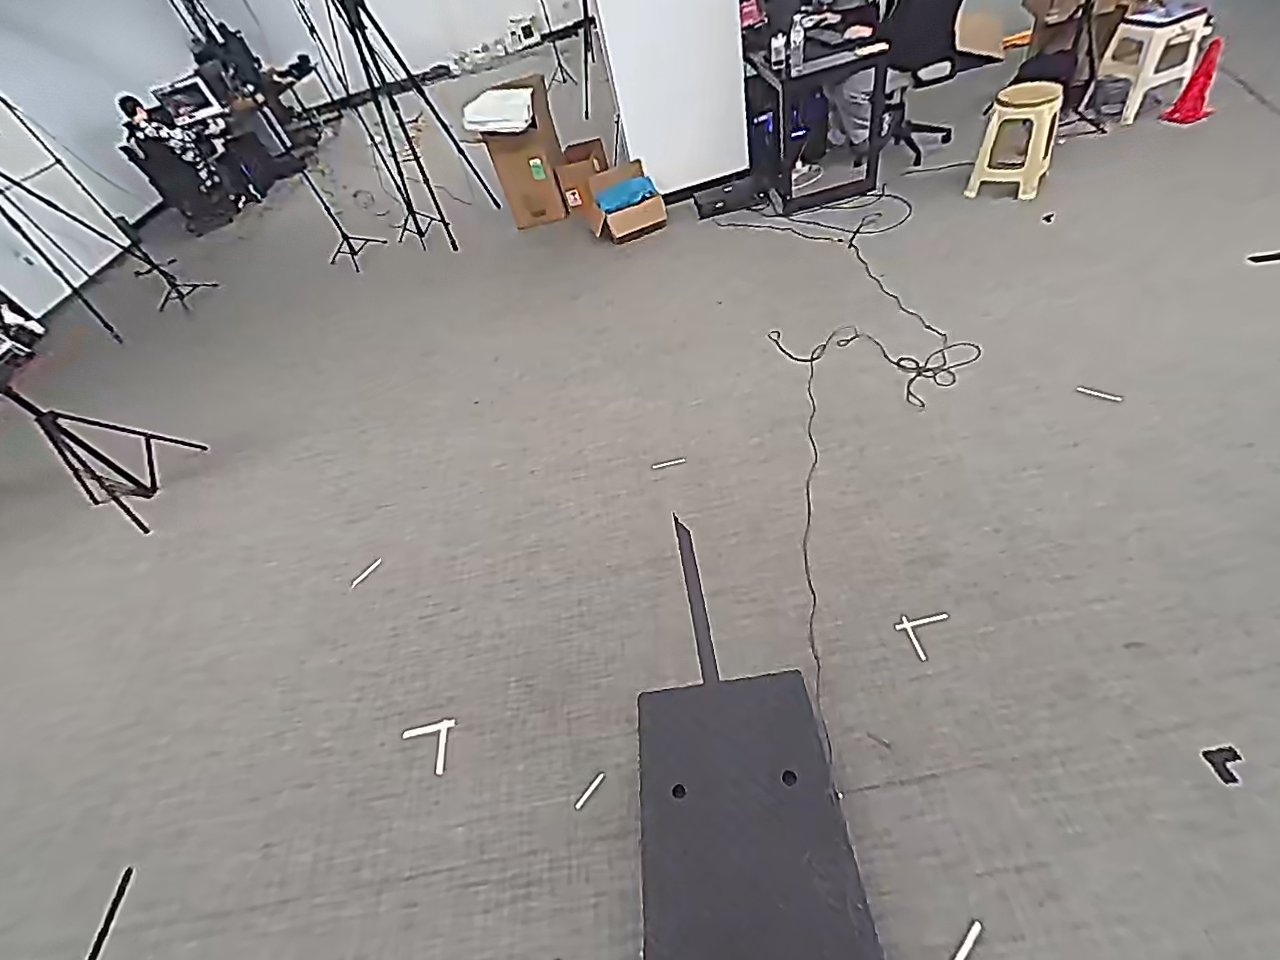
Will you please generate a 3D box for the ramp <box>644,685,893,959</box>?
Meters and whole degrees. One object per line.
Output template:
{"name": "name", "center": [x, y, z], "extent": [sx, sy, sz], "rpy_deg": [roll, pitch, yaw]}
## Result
{"name": "ramp", "center": [0.264, 0.942, 1.202], "extent": [0.509, 0.206, 0.991], "rpy_deg": [-15, 45, 6]}
